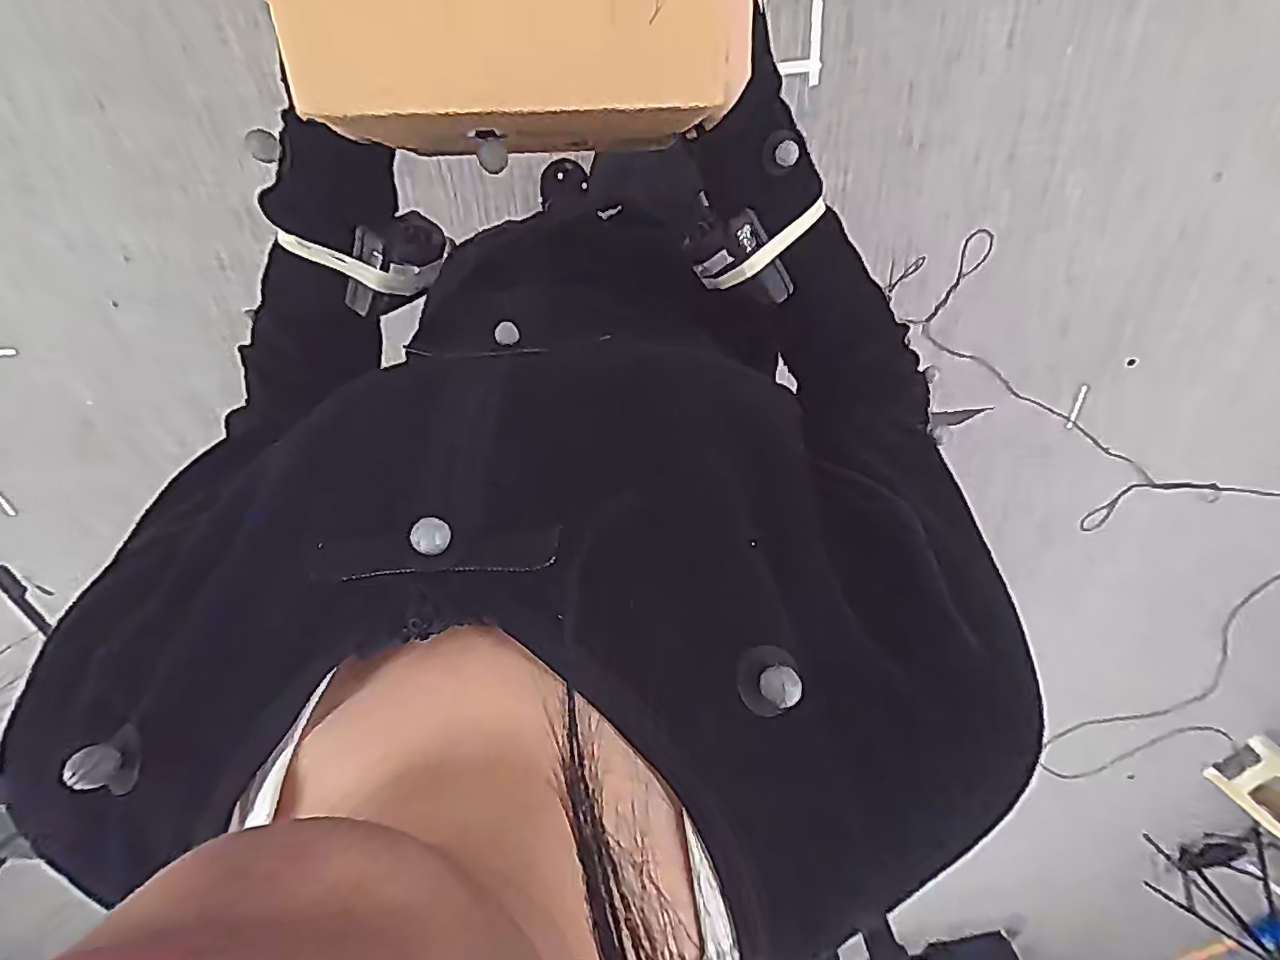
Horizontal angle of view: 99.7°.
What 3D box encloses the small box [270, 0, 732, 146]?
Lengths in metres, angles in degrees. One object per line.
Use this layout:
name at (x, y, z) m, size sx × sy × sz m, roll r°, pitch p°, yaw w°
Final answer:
small box at (-0.054, -0.255, 0.238) m, size 0.168 × 0.176 × 0.179 m, roll -4°, pitch 116°, yaw -3°
